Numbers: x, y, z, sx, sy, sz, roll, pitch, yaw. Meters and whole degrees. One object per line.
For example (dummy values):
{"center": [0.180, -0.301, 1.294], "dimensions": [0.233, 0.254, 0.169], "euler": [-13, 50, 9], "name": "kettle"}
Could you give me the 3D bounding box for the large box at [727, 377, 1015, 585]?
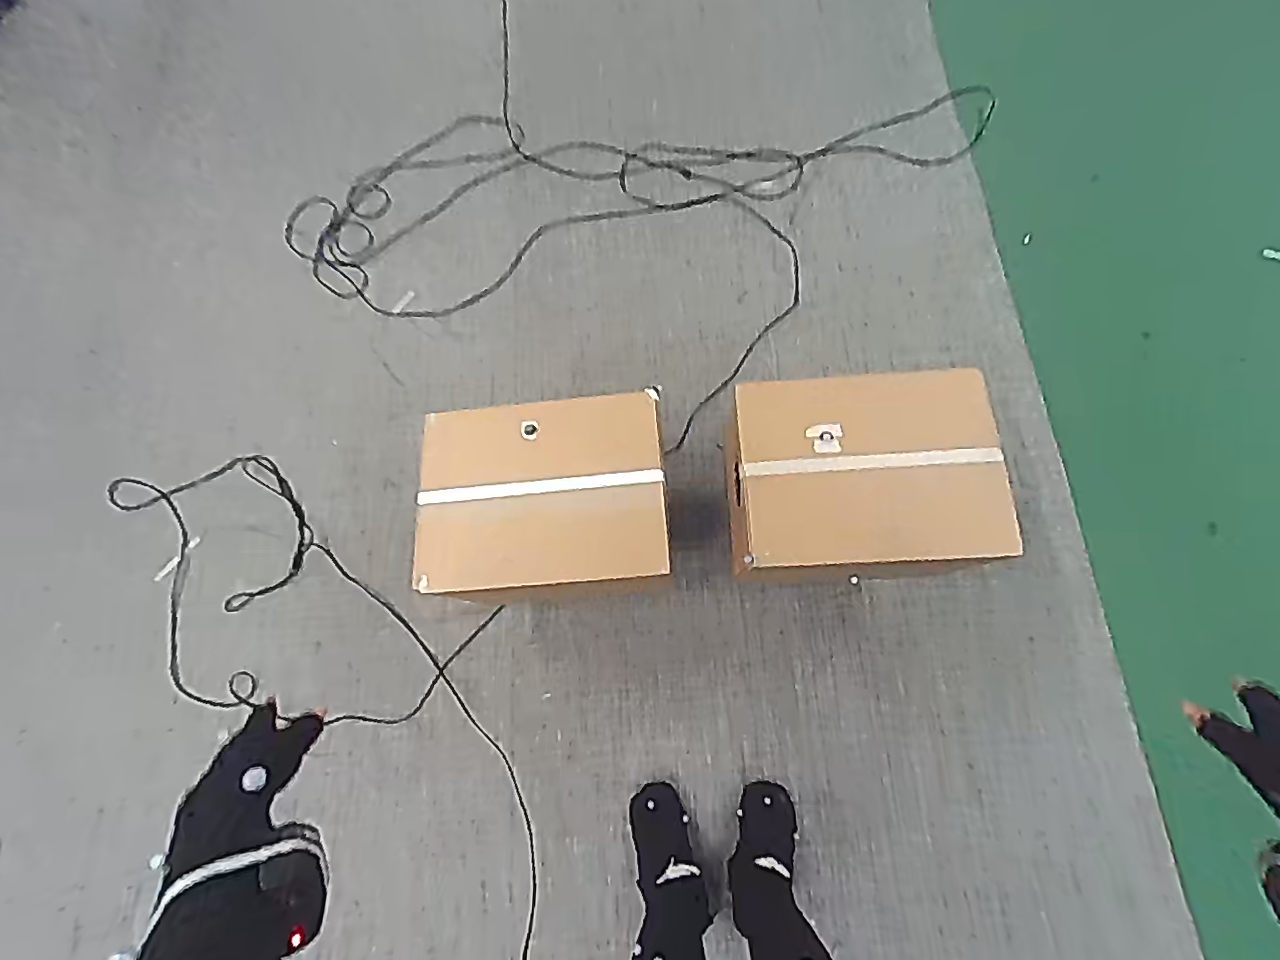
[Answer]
{"center": [0.386, 0.025, 1.019], "dimensions": [0.408, 0.320, 0.320], "euler": [-3, 74, 4], "name": "large box"}
